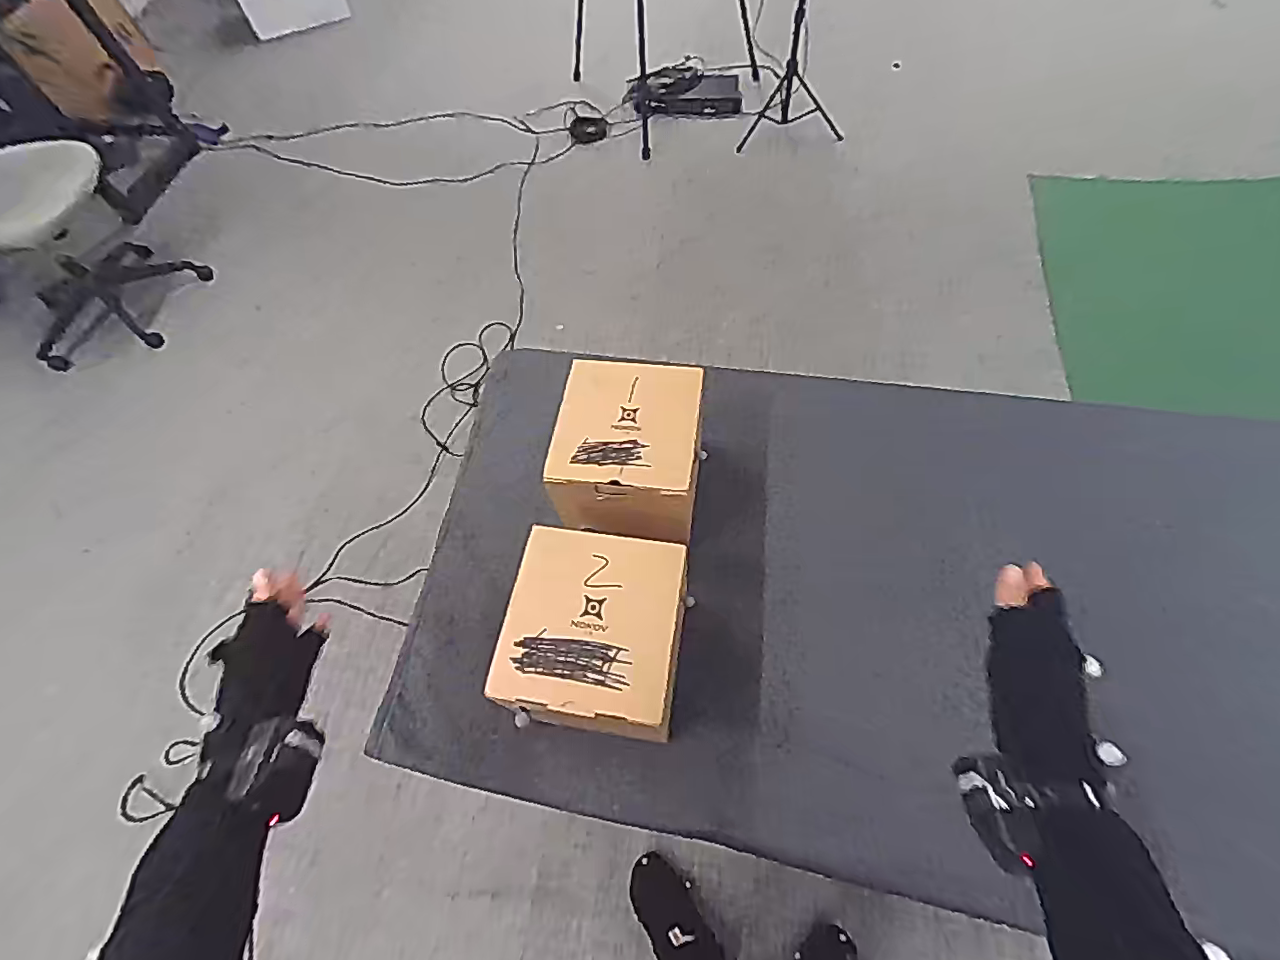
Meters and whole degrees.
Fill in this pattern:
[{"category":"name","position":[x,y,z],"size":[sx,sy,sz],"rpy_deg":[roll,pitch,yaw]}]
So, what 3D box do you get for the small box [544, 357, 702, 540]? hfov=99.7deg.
[{"category":"small box","position":[-0.009,-0.035,0.701],"size":[0.168,0.176,0.179],"rpy_deg":[5,62,8]}]
